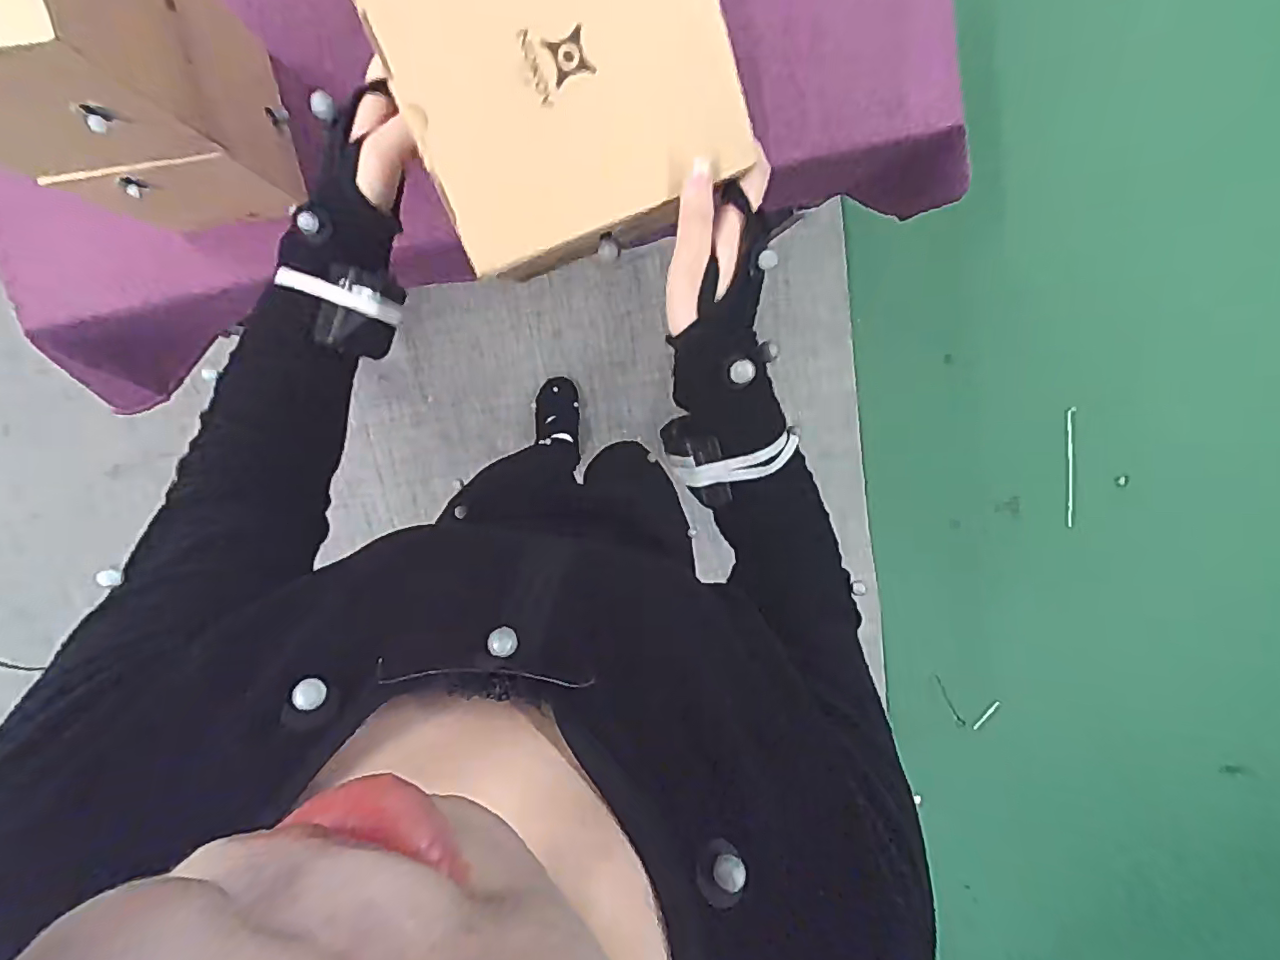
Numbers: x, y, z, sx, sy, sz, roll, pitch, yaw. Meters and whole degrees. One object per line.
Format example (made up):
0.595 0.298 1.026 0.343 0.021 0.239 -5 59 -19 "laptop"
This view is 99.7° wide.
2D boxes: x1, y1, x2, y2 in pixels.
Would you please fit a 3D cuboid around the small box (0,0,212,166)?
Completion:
-0.459 -0.352 0.391 0.179 0.176 0.168 -10 102 -4 "small box"

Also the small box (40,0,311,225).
-0.477 -0.385 0.551 0.168 0.176 0.179 -11 102 -3 "small box"
